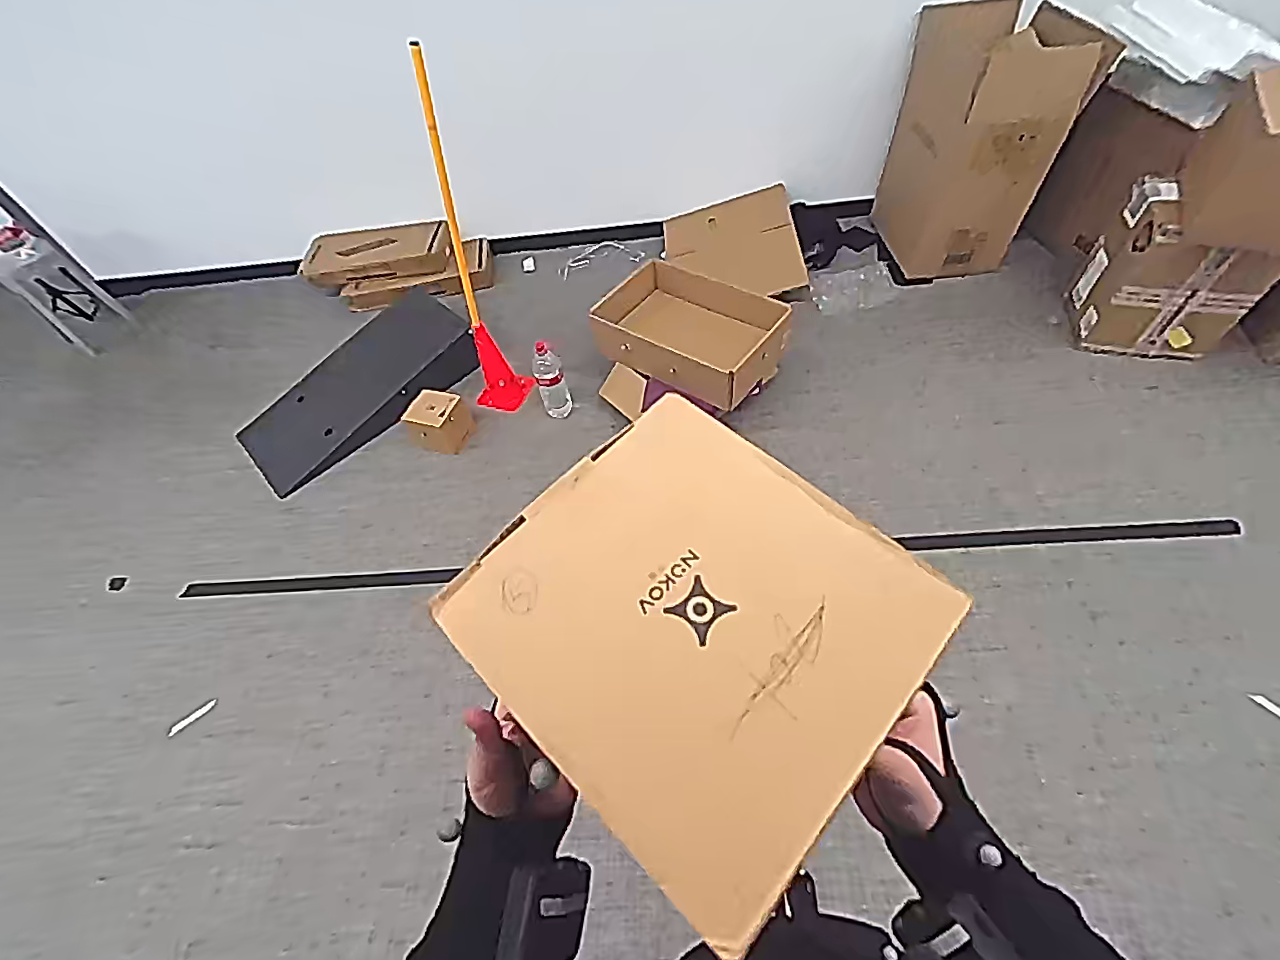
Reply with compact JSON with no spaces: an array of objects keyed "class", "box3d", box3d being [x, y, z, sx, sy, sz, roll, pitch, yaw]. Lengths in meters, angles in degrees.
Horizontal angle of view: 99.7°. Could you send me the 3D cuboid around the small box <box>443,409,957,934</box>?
[{"class":"small box","box3d":[0.027,0.100,0.313,0.179,0.176,0.168,38,68,21]}]
